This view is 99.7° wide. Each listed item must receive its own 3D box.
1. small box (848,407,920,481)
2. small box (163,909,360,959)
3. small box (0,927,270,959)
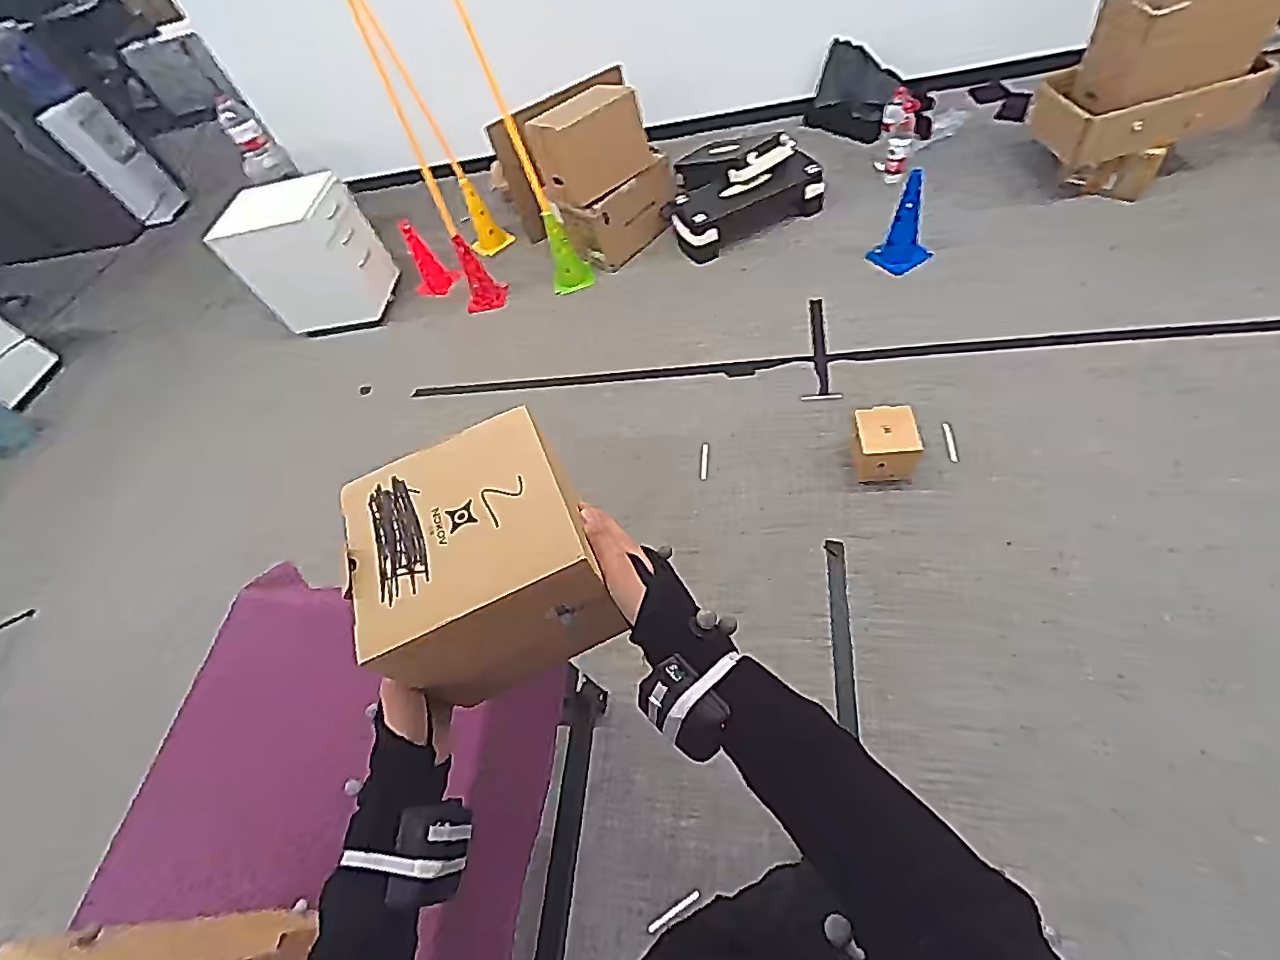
[{"bbox_3d":[0.765,-0.107,1.710,0.168,0.176,0.179,-4,56,11],"label":"small box"},{"bbox_3d":[-0.470,0.632,0.639,0.168,0.176,0.179,-5,55,11],"label":"small box"},{"bbox_3d":[-0.508,0.544,0.505,0.179,0.176,0.168,0,58,14],"label":"small box"}]
